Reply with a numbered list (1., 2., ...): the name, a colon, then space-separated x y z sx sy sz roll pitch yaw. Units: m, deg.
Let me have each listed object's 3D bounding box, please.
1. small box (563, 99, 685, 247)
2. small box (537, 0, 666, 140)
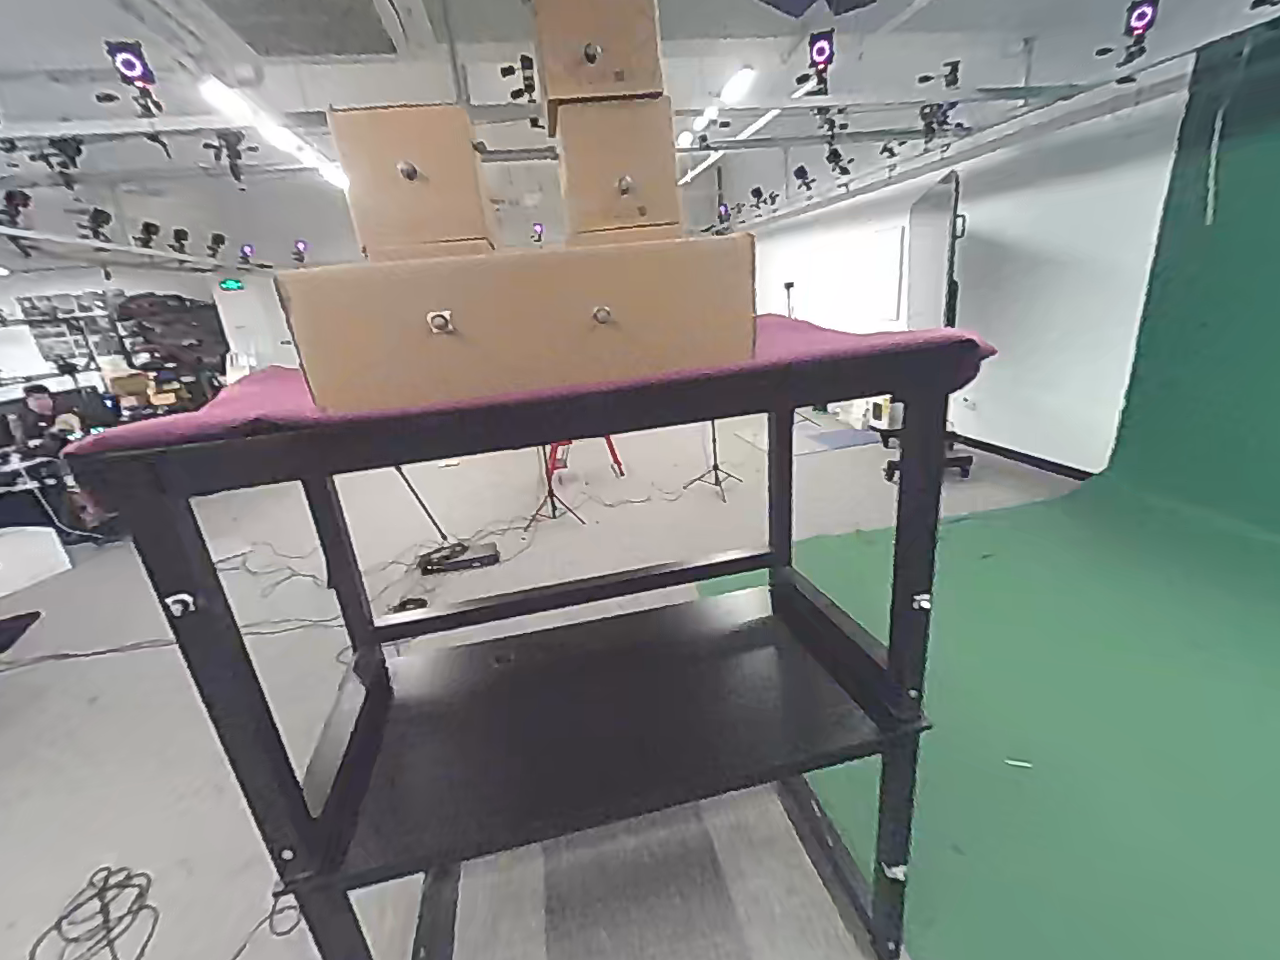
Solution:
1. small box: -0.030 -0.477 0.864 0.168 0.176 0.179 -10 19 -6
2. small box: -0.060 -0.626 0.807 0.168 0.176 0.179 -9 19 -6
